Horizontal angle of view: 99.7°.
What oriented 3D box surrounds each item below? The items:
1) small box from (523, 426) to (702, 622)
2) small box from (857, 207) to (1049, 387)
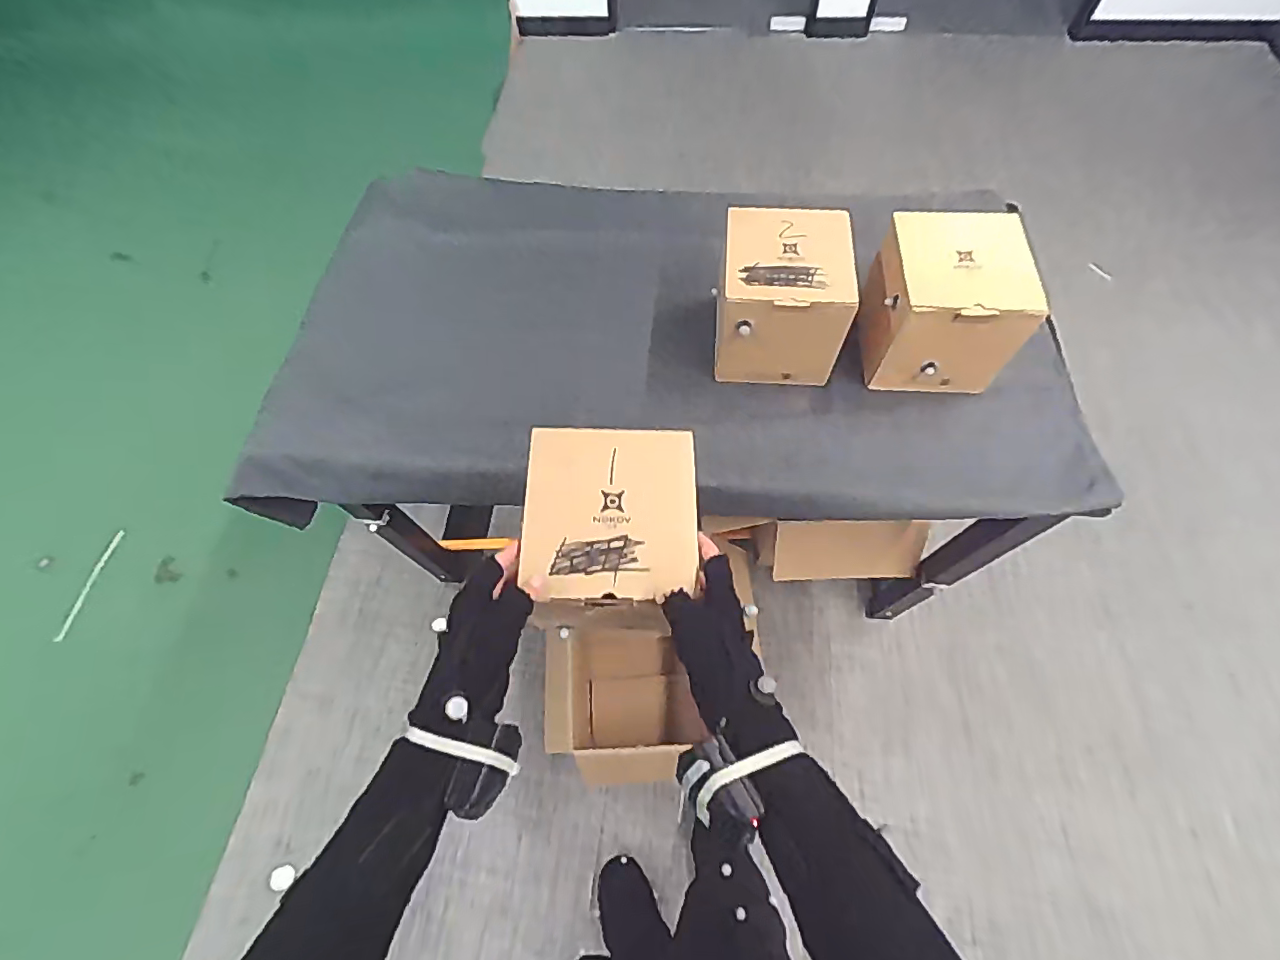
[{"bbox_3d":[-0.026,0.057,0.590,0.168,0.176,0.179,0,66,-2],"label":"small box"},{"bbox_3d":[0.419,-0.253,0.761,0.168,0.176,0.179,2,64,4],"label":"small box"}]
